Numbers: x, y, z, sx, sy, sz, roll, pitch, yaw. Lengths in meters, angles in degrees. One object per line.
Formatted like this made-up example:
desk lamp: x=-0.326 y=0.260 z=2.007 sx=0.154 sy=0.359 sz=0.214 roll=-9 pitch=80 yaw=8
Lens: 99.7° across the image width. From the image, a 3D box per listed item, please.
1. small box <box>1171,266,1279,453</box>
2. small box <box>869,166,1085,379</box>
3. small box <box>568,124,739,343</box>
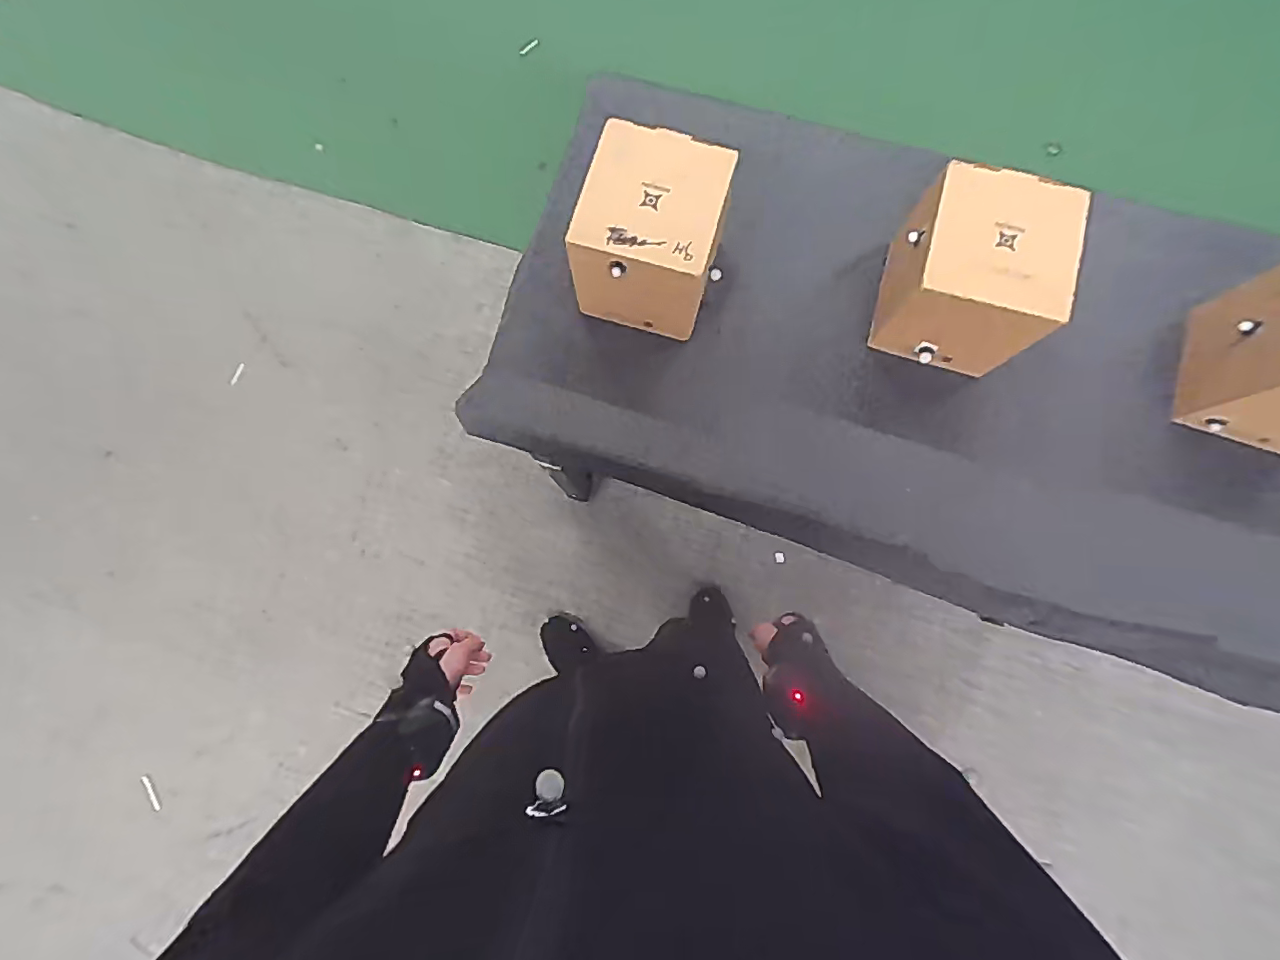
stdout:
small box: x=0.826 y=-0.149 z=0.674 sx=0.168 sy=0.176 sz=0.179 roll=19 pitch=79 yaw=4
small box: x=0.420 y=-0.256 z=0.701 sx=0.168 sy=0.176 sz=0.179 roll=16 pitch=81 yaw=4
small box: x=0.016 y=-0.311 z=0.710 sx=0.168 sy=0.176 sz=0.179 roll=16 pitch=79 yaw=4
